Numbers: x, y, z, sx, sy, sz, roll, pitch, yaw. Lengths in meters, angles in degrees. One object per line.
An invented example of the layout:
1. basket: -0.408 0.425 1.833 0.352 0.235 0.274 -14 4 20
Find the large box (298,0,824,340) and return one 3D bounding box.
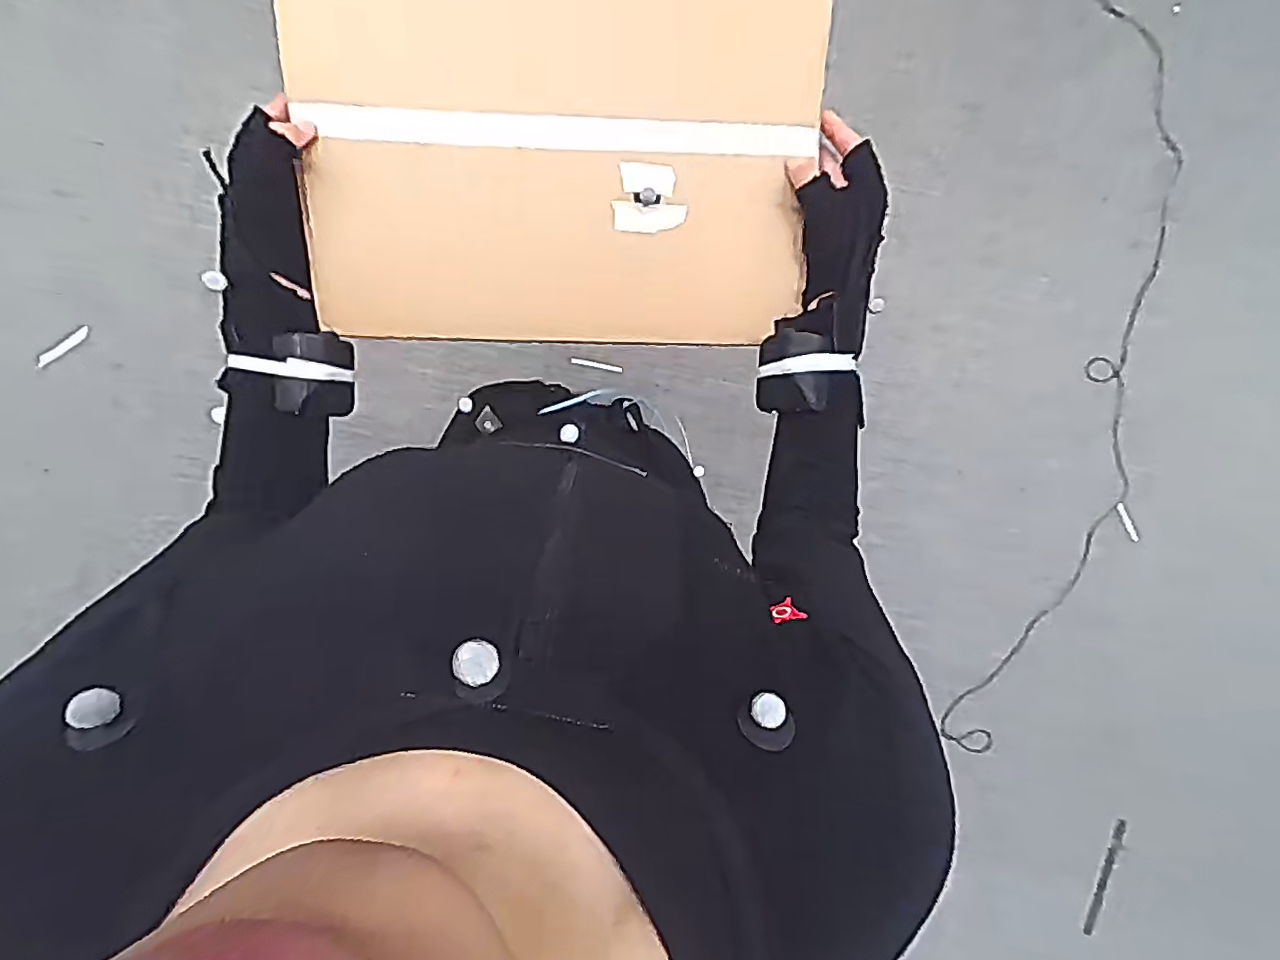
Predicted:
1. large box: -0.068 -0.314 0.576 0.408 0.320 0.320 0 107 -5
